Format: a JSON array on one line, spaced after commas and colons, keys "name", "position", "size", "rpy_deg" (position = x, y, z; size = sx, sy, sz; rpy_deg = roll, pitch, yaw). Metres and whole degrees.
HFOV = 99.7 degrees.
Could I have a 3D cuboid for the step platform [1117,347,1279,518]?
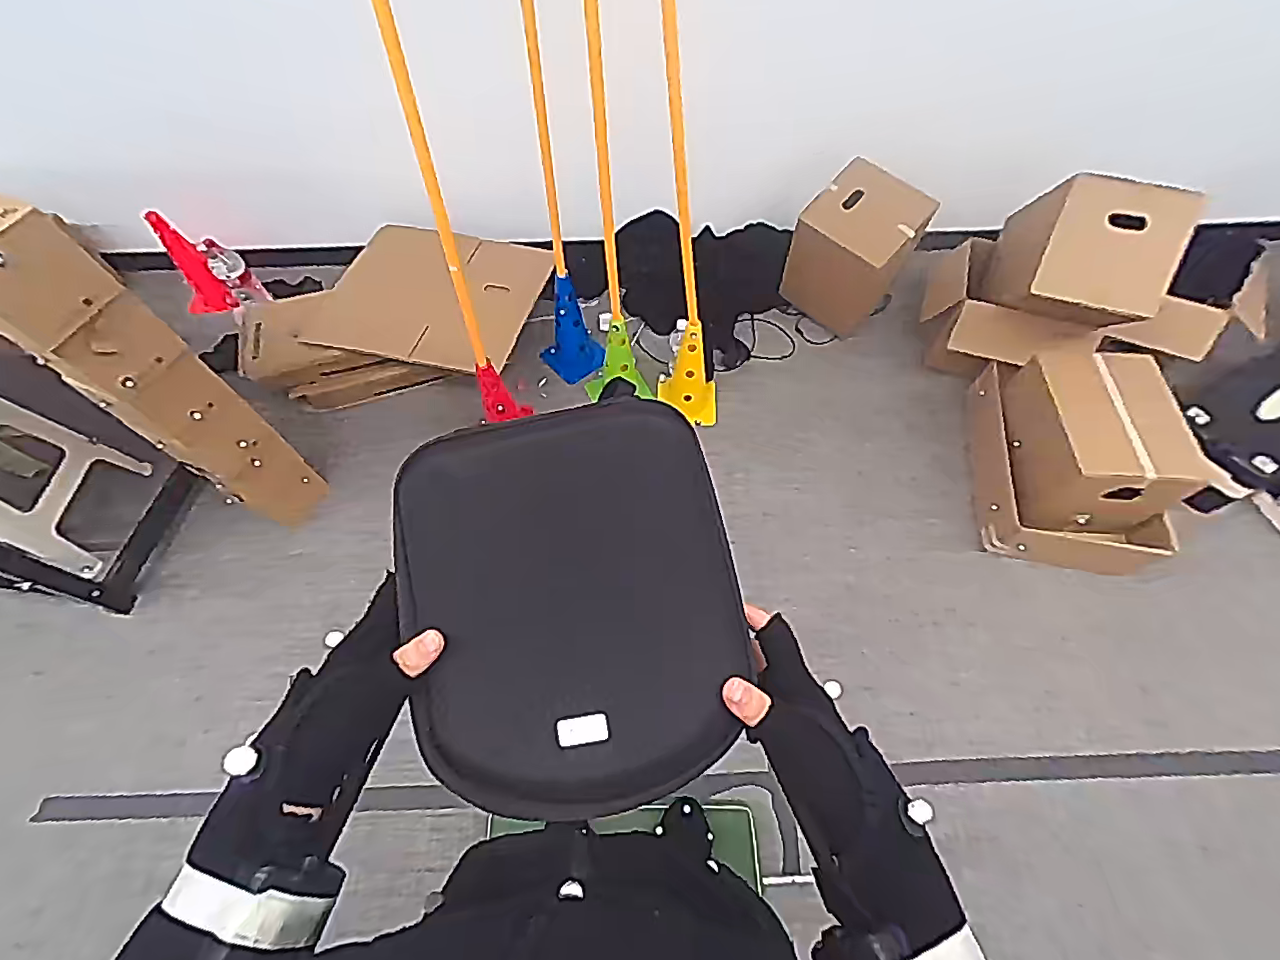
[{"name": "step platform", "position": [1.884, -0.161, 1.697], "size": [0.684, 0.204, 0.286], "rpy_deg": [-27, 64, -14]}]
